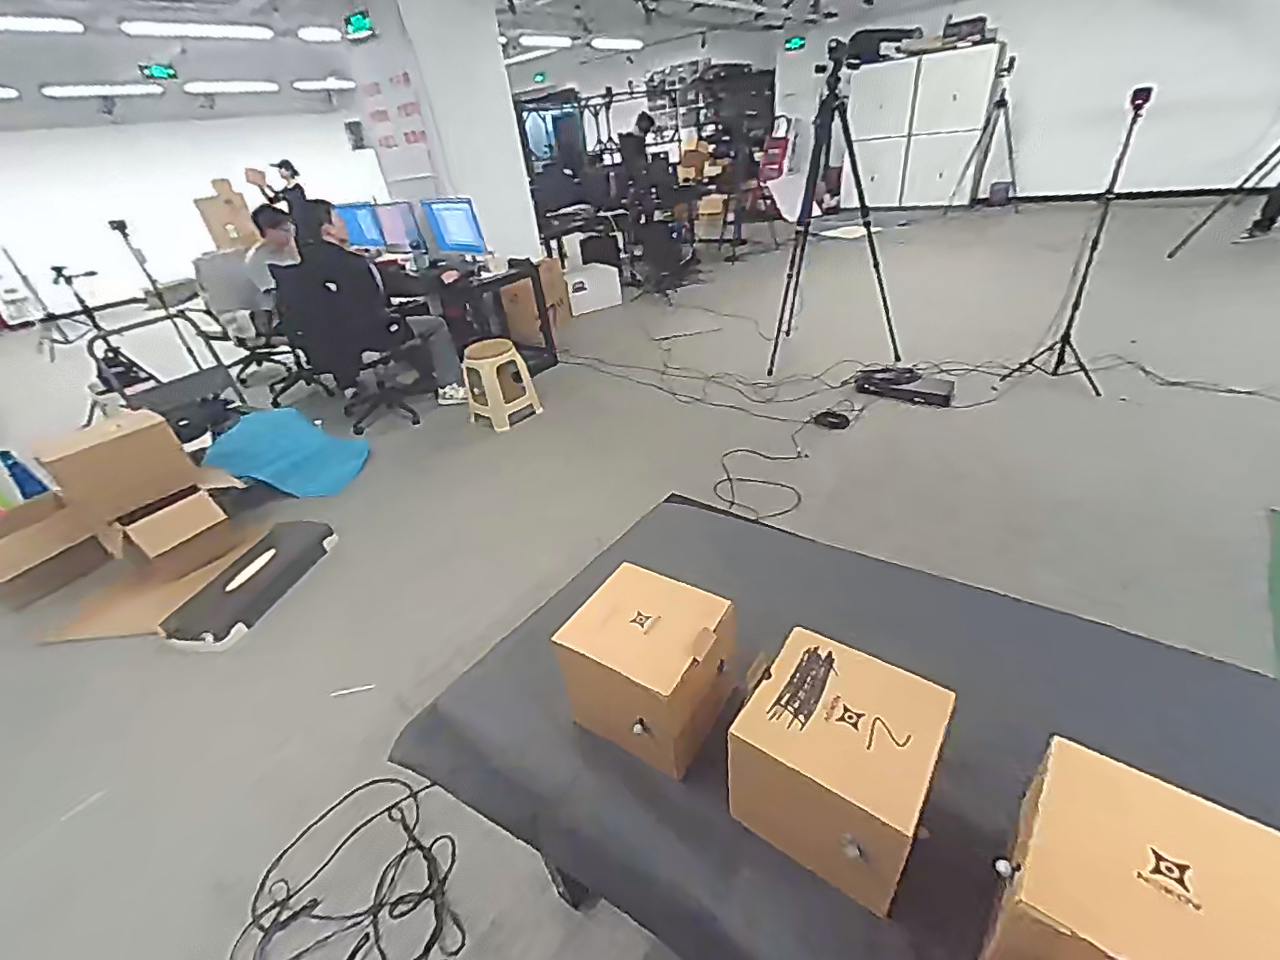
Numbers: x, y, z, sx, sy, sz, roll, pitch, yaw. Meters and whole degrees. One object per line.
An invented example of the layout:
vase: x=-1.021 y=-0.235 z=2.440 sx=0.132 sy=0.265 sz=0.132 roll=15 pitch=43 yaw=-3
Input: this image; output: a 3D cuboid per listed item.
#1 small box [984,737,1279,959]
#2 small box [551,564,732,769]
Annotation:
small box: x=0.401 y=0.363 z=0.437 sx=0.168 sy=0.176 sz=0.179 roll=18 pitch=35 yaw=36
small box: x=0.013 y=0.246 z=0.721 sx=0.179 sy=0.176 sz=0.168 roll=14 pitch=36 yaw=31
